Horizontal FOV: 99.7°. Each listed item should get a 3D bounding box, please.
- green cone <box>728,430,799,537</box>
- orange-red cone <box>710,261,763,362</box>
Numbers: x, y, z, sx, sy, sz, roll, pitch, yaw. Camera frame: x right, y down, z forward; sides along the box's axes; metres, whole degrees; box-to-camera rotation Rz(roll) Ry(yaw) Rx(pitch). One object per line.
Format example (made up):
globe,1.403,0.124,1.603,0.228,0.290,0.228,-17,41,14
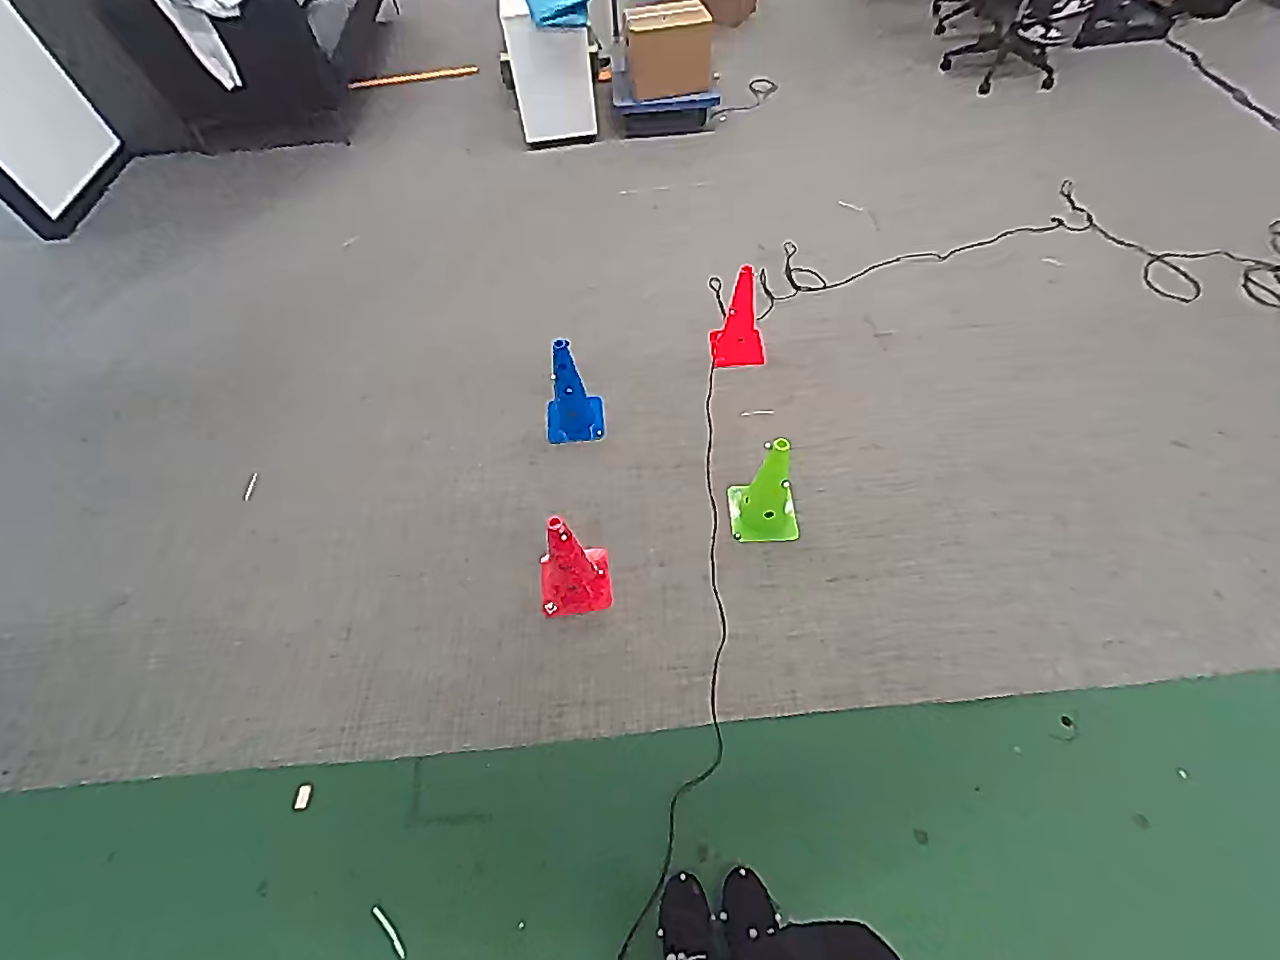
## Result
green cone,0.376,-0.011,1.543,0.200,0.368,0.202,-3,56,1
orange-red cone,0.360,-0.621,1.946,0.198,0.360,0.199,-2,58,3
